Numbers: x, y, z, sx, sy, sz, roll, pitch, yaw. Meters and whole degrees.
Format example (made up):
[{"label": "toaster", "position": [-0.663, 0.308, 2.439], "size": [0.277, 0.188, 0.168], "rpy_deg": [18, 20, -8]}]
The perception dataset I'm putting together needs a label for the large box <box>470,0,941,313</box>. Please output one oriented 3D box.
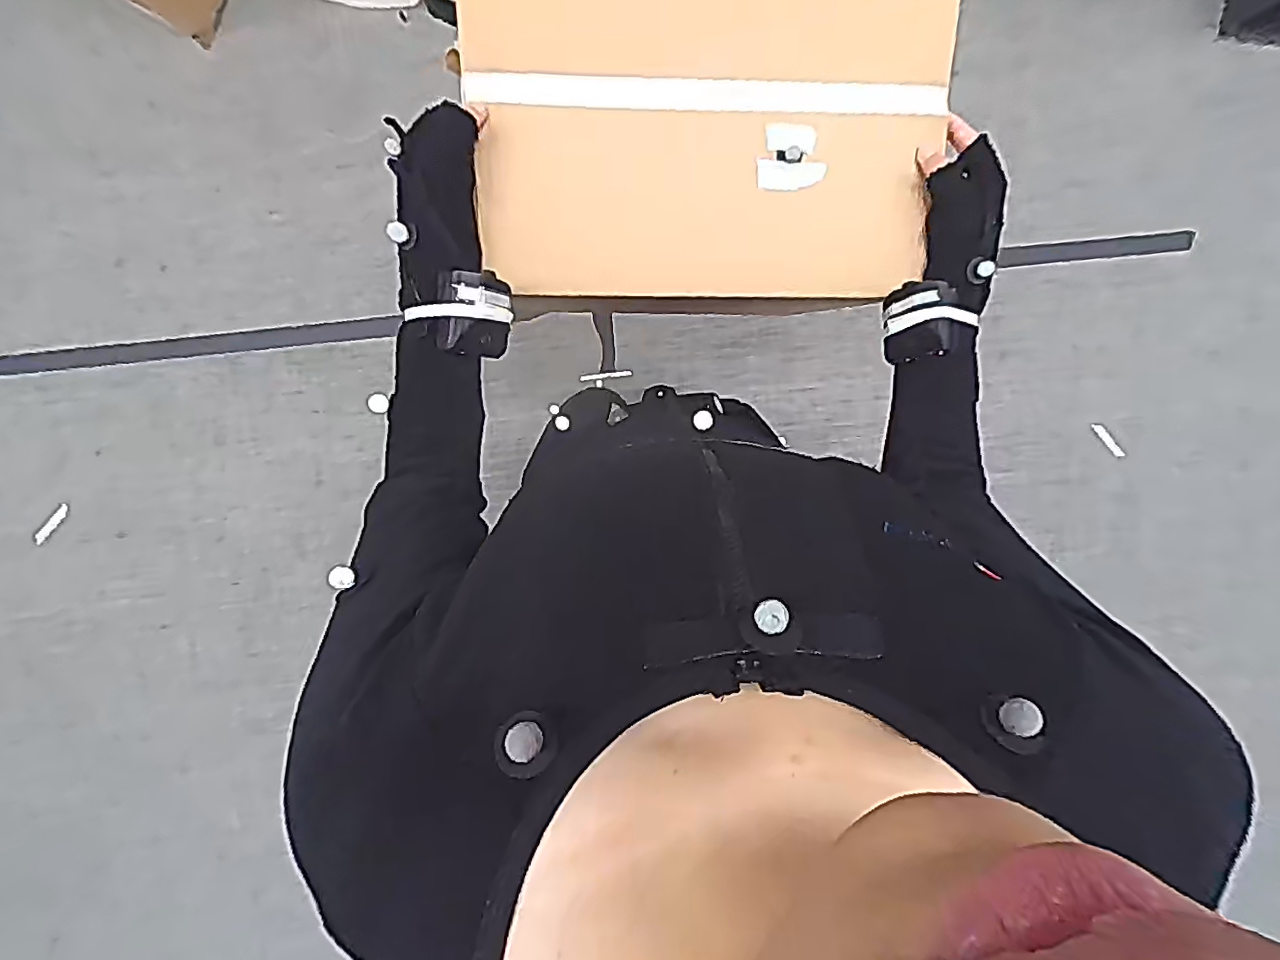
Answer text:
[{"label": "large box", "position": [0.047, -0.361, 0.613], "size": [0.408, 0.320, 0.320], "rpy_deg": [-1, 105, -5]}]
